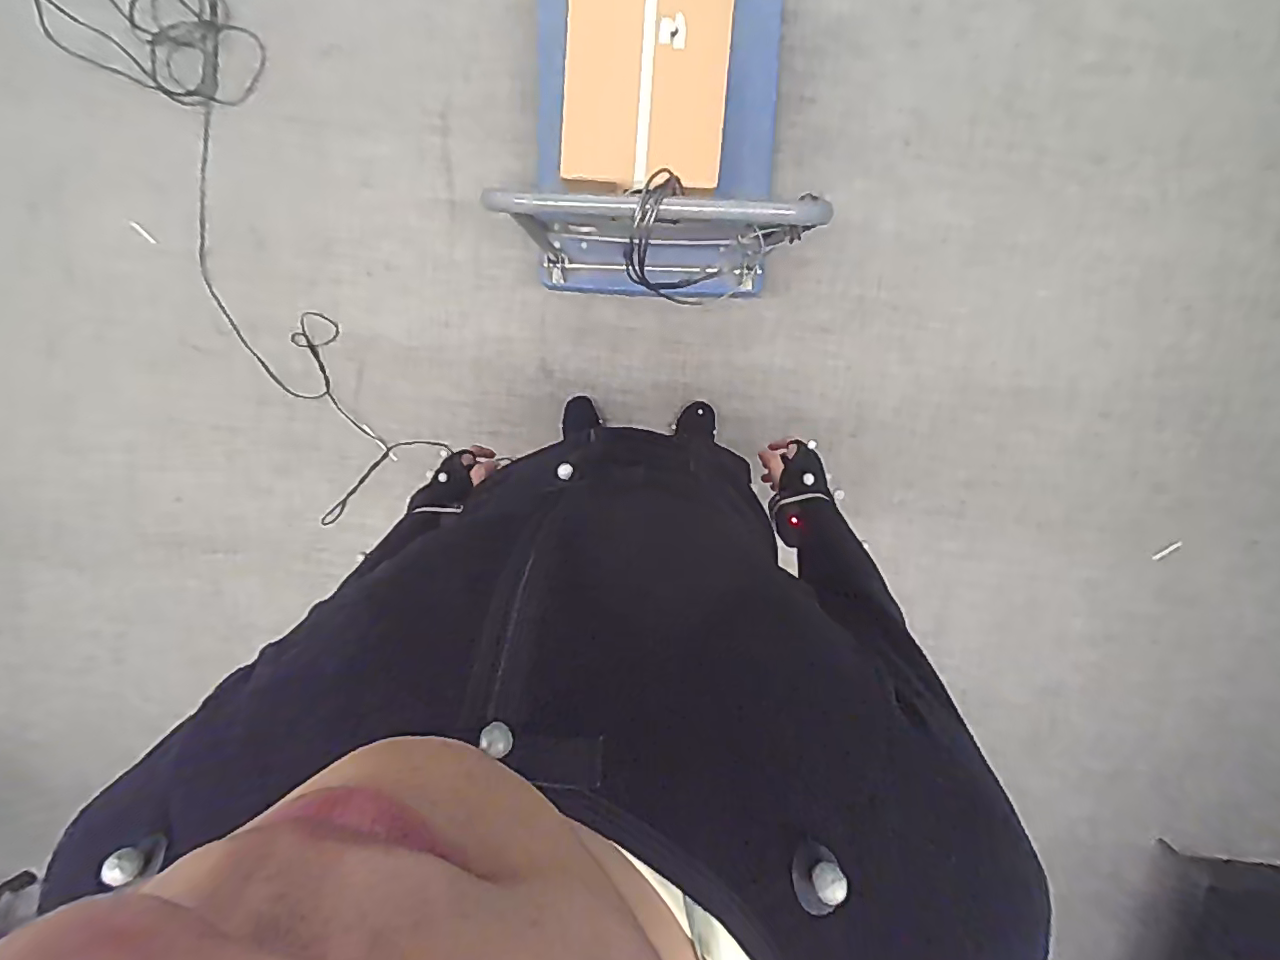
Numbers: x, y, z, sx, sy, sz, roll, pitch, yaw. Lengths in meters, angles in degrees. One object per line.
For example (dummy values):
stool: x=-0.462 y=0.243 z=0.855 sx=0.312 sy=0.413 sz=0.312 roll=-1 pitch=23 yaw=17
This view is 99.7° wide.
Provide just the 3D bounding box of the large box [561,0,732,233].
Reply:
large box: x=0.015 y=-0.799 z=1.186 sx=0.320 sy=0.320 sz=0.408 roll=5 pitch=98 yaw=0
